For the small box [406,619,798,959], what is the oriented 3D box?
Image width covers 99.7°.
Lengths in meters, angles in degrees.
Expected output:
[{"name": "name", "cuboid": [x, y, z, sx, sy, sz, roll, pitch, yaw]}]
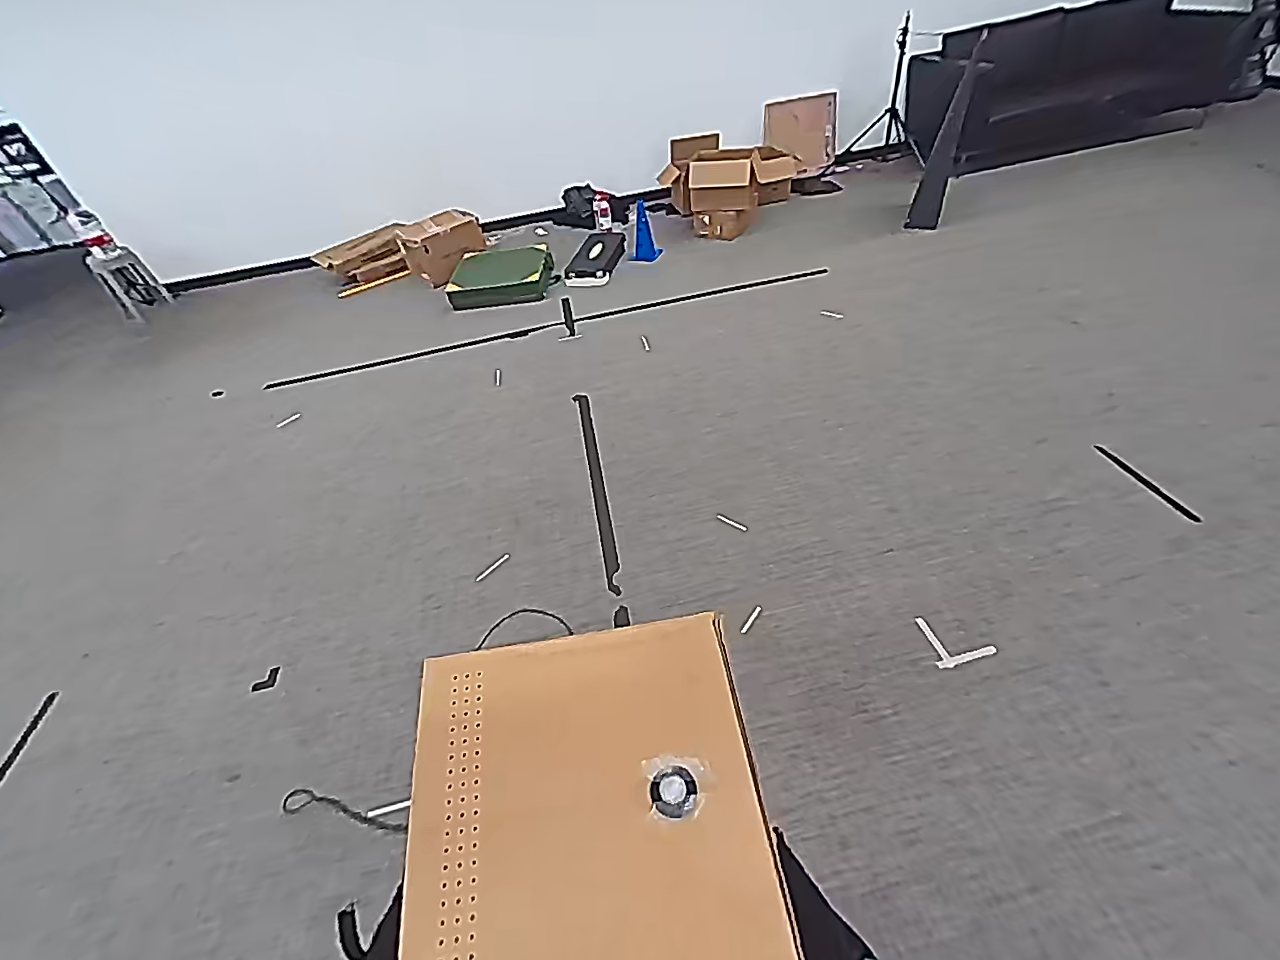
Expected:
[{"name": "small box", "cuboid": [-0.022, 0.208, 0.323, 0.176, 0.168, 0.179, -10, 54, -1]}]
